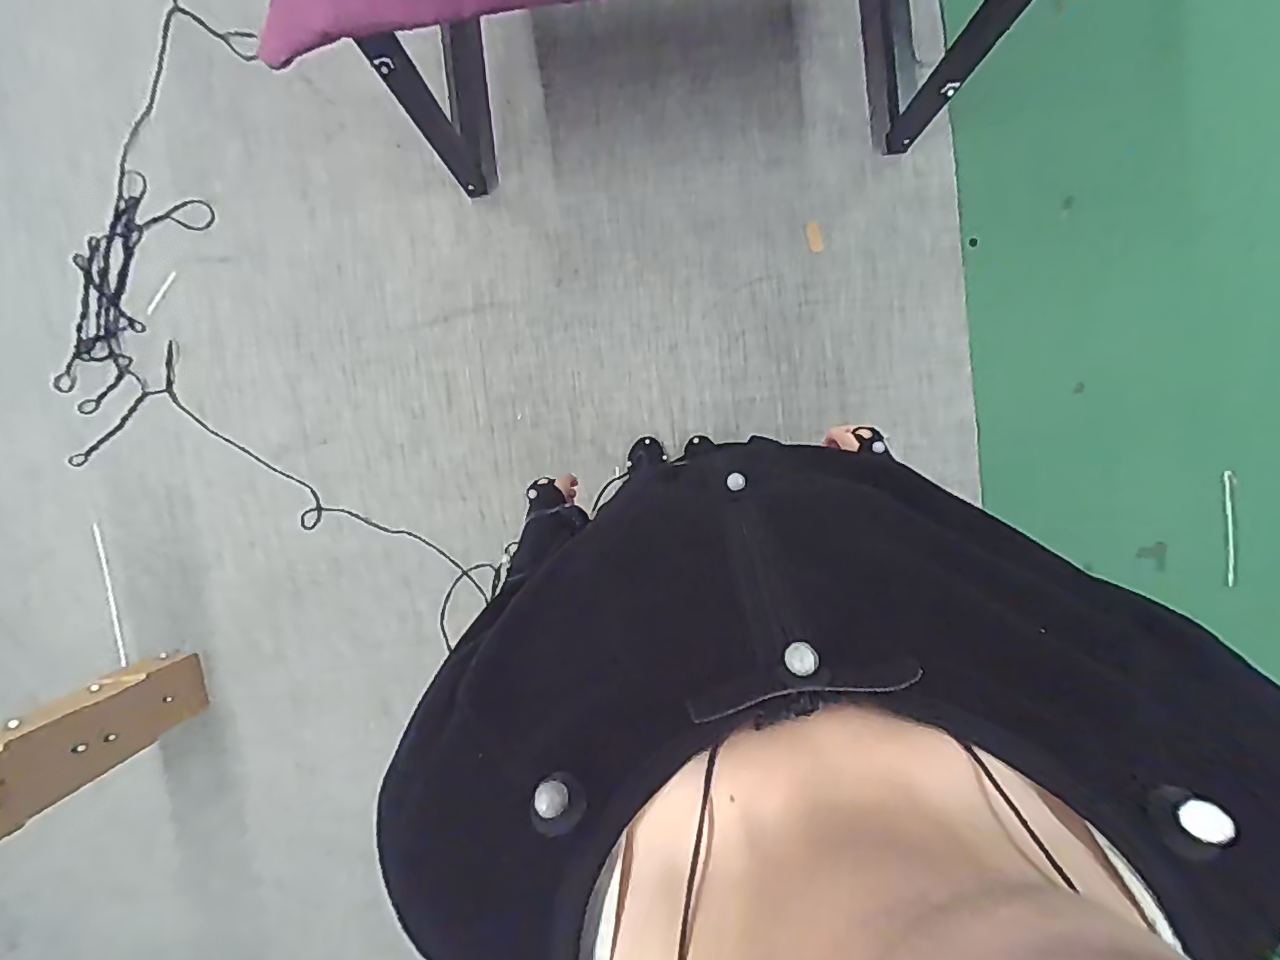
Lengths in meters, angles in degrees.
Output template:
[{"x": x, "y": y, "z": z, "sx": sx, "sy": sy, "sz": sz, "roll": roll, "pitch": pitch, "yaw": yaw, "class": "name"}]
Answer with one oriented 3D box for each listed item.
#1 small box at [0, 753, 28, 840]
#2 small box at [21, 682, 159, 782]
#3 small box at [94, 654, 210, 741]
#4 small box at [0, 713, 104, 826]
[{"x": -1.346, "y": 0.647, "z": 1.021, "sx": 0.179, "sy": 0.176, "sz": 0.168, "roll": -10, "pitch": 93, "yaw": 1, "class": "small box"}, {"x": -1.355, "y": 0.629, "z": 1.347, "sx": 0.168, "sy": 0.176, "sz": 0.179, "roll": -8, "pitch": 93, "yaw": 1, "class": "small box"}, {"x": -1.351, "y": 0.610, "z": 1.510, "sx": 0.168, "sy": 0.176, "sz": 0.179, "roll": -8, "pitch": 92, "yaw": 2, "class": "small box"}, {"x": -1.346, "y": 0.632, "z": 1.184, "sx": 0.168, "sy": 0.176, "sz": 0.179, "roll": -10, "pitch": 92, "yaw": 2, "class": "small box"}]
